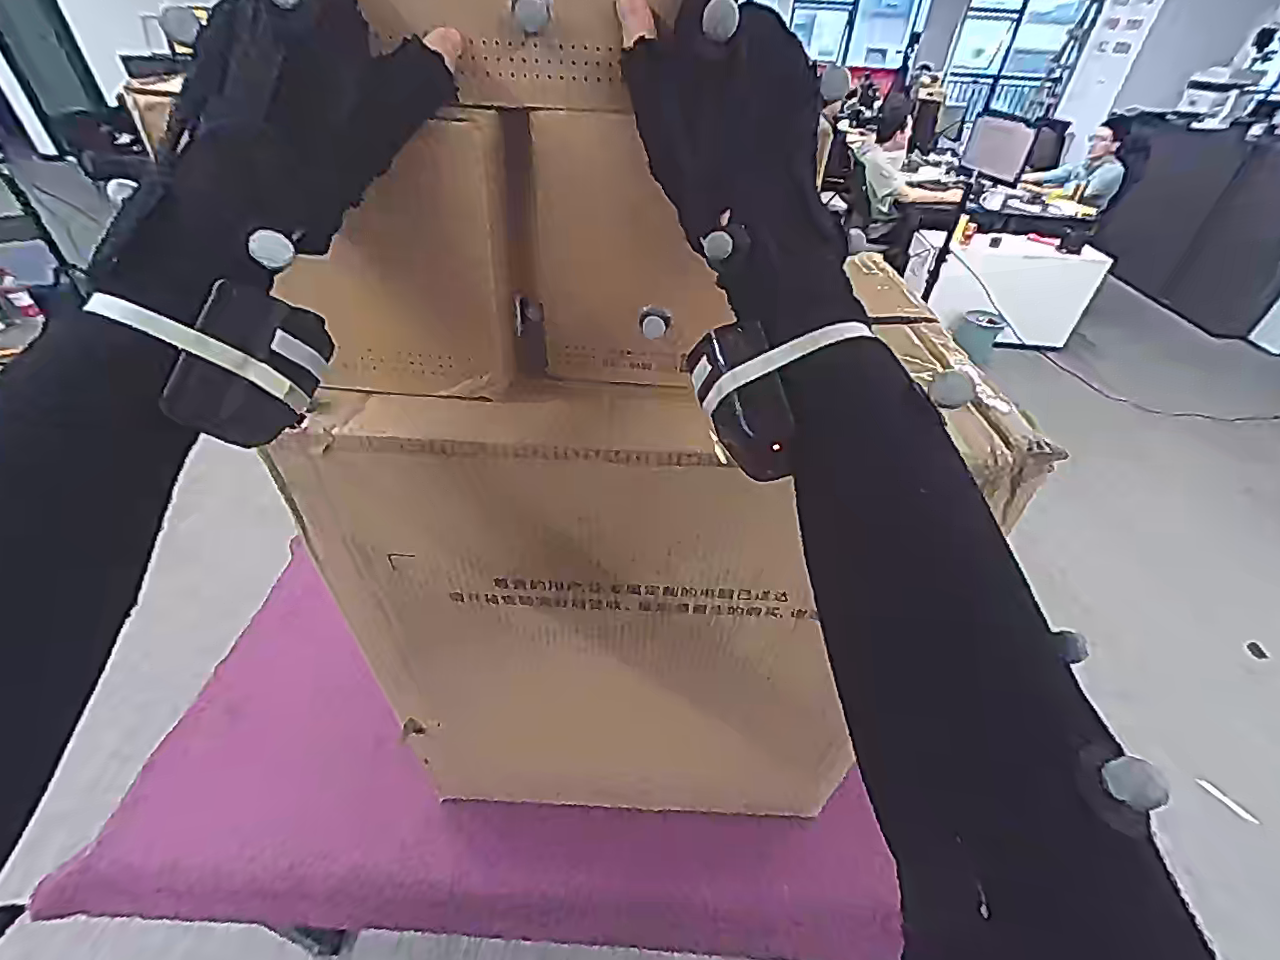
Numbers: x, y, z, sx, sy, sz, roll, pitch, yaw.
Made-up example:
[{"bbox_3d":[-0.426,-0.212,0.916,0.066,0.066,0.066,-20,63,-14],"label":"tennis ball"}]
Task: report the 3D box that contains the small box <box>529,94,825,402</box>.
[{"bbox_3d":[0.022,-0.180,0.407,0.168,0.176,0.179,4,42,2],"label":"small box"}]
